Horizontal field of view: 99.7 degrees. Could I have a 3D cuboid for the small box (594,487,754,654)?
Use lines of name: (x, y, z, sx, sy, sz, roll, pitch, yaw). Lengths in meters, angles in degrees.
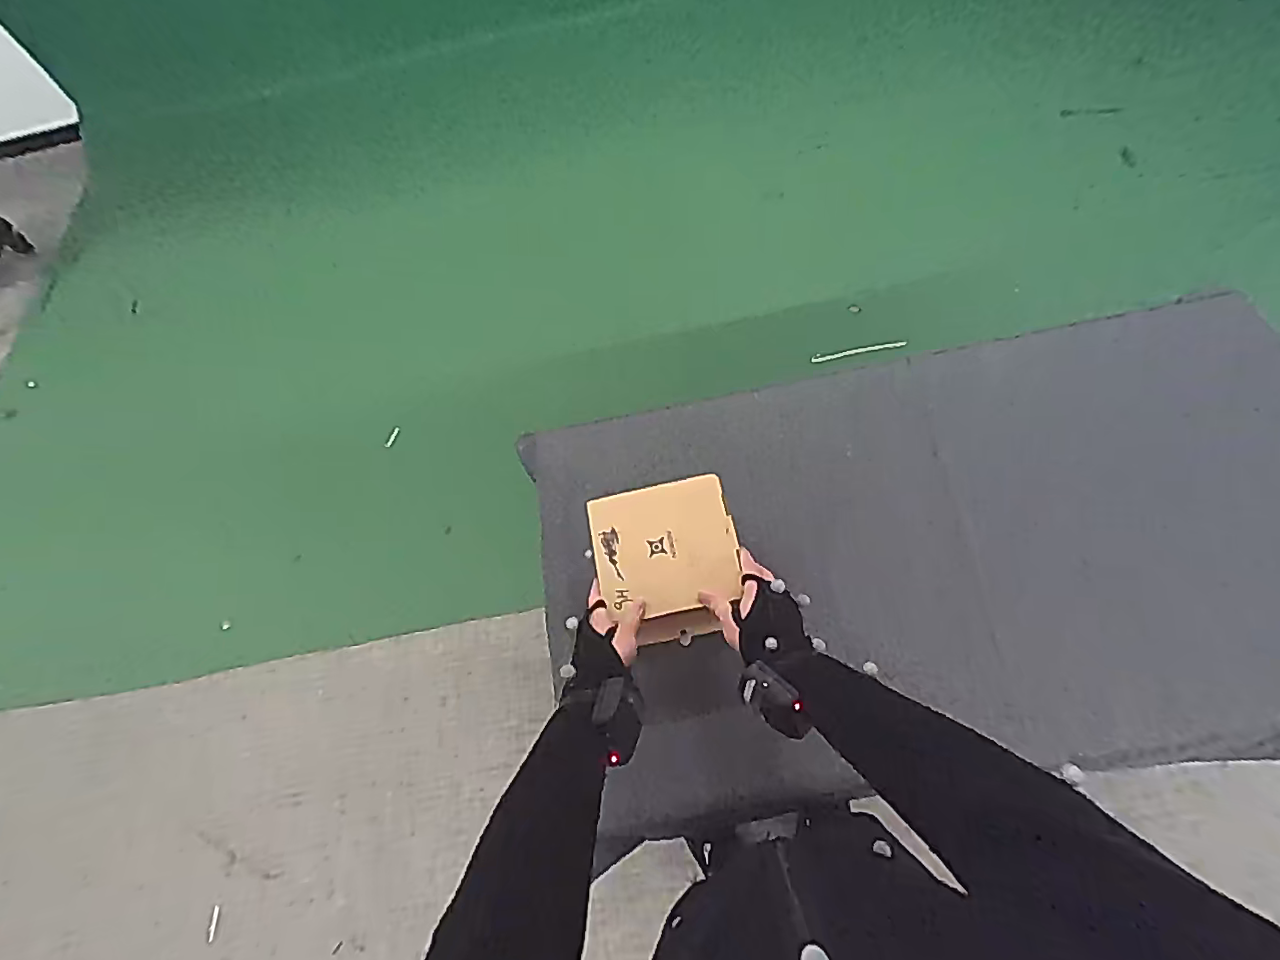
small box: (0.043, 0.130, 0.737, 0.179, 0.176, 0.168, -11, 63, 1)
